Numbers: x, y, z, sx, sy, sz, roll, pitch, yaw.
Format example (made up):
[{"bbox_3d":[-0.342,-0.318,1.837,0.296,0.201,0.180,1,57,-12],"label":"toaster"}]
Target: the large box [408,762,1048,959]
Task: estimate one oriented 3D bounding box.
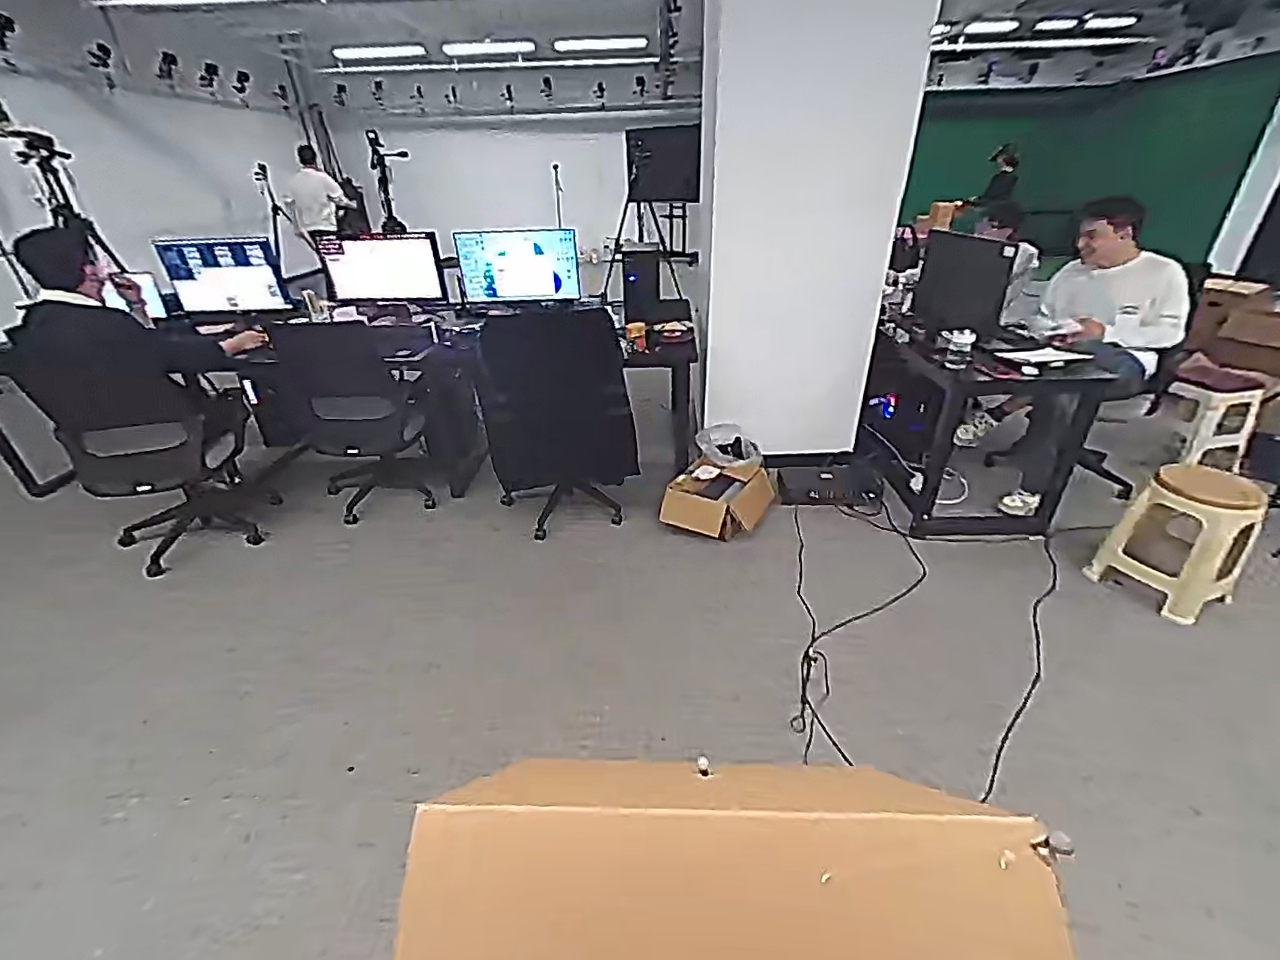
[{"bbox_3d":[0.055,0.420,0.447,0.408,0.320,0.320,-1,69,1],"label":"large box"}]
